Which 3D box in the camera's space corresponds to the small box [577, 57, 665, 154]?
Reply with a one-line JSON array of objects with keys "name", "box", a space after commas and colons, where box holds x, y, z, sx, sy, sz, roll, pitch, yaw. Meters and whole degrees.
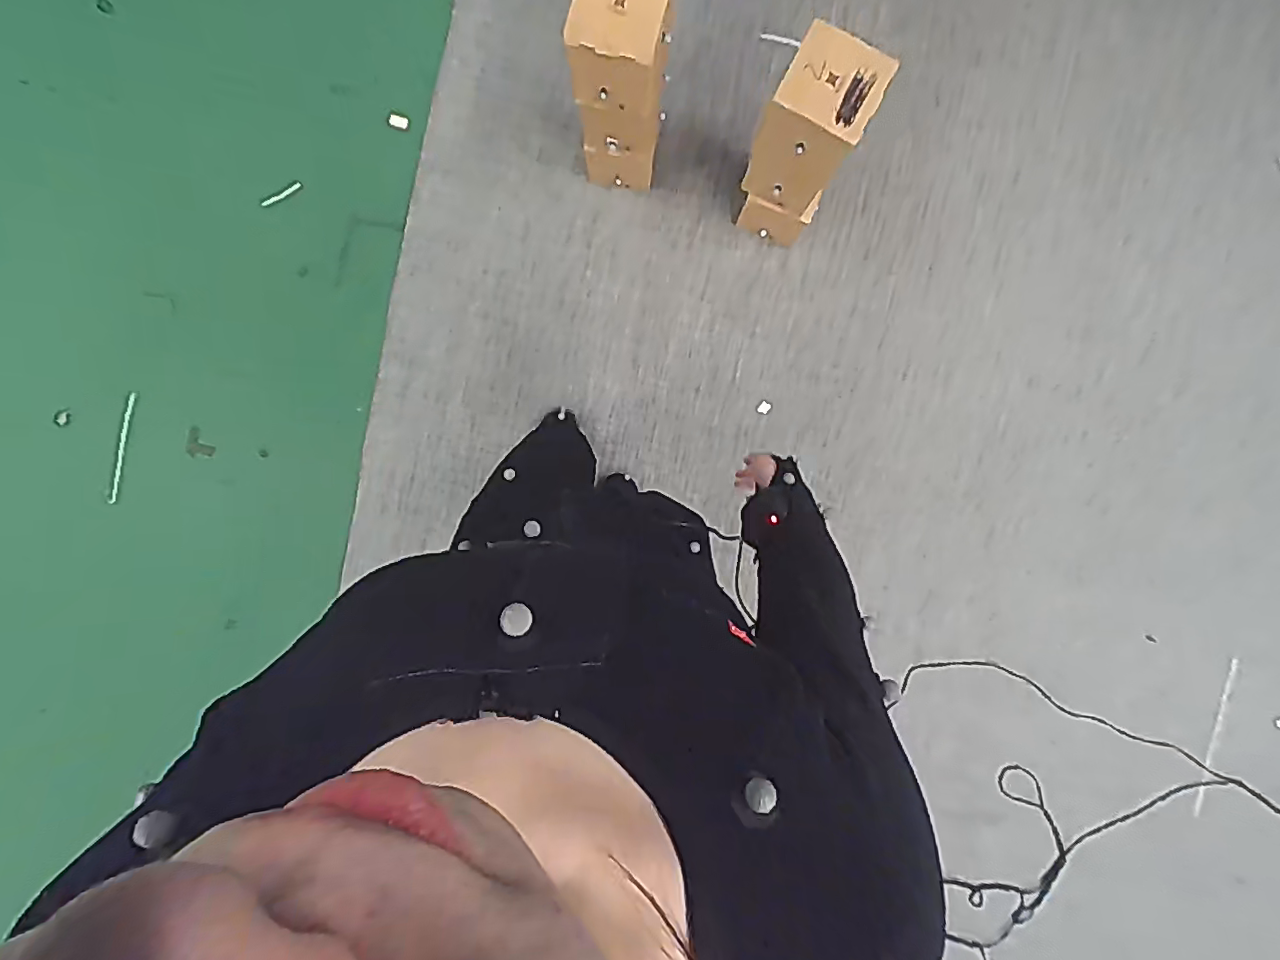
[{"name": "small box", "box": [-0.038, -0.862, 1.192, 0.168, 0.176, 0.179, 9, 93, 0]}]

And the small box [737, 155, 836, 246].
[{"name": "small box", "box": [0.359, -0.730, 1.365, 0.168, 0.176, 0.179, 22, 93, -2]}]

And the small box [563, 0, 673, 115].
[{"name": "small box", "box": [-0.038, -0.850, 1.030, 0.168, 0.176, 0.179, 15, 93, -1]}]

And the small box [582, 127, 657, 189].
[{"name": "small box", "box": [-0.046, -0.868, 1.354, 0.168, 0.176, 0.179, 8, 93, -1]}]

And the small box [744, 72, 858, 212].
[{"name": "small box", "box": [0.345, -0.737, 1.202, 0.168, 0.176, 0.179, 26, 93, -2]}]
